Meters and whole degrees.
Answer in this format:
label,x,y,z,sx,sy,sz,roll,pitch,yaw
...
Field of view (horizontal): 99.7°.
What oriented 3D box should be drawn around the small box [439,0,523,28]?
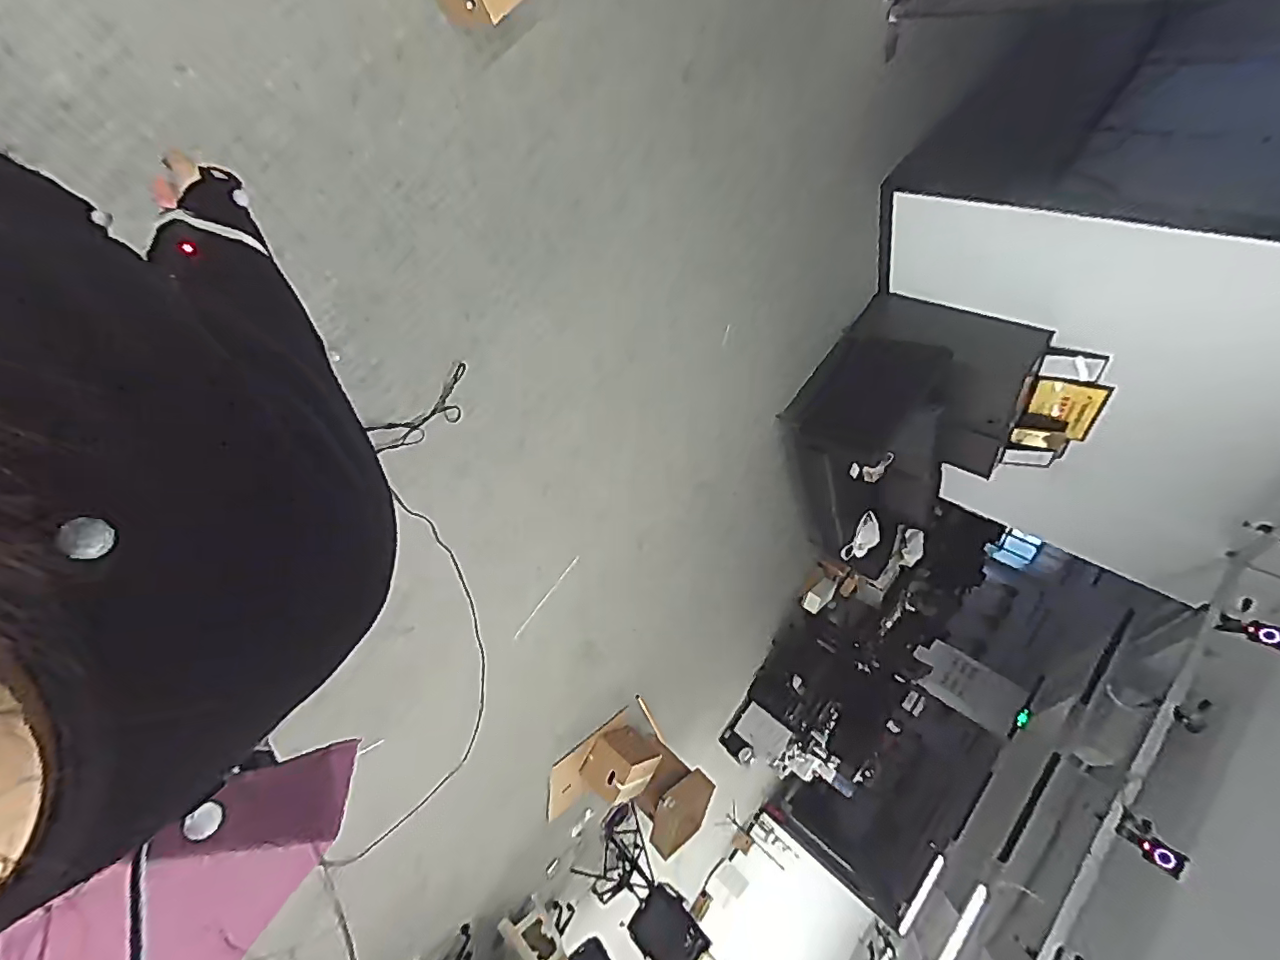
label,x,y,z,sx,sy,sz,roll,pitch,yaw
small box,-0.364,-1.140,1.187,0.168,0.176,0.179,-53,146,-11
